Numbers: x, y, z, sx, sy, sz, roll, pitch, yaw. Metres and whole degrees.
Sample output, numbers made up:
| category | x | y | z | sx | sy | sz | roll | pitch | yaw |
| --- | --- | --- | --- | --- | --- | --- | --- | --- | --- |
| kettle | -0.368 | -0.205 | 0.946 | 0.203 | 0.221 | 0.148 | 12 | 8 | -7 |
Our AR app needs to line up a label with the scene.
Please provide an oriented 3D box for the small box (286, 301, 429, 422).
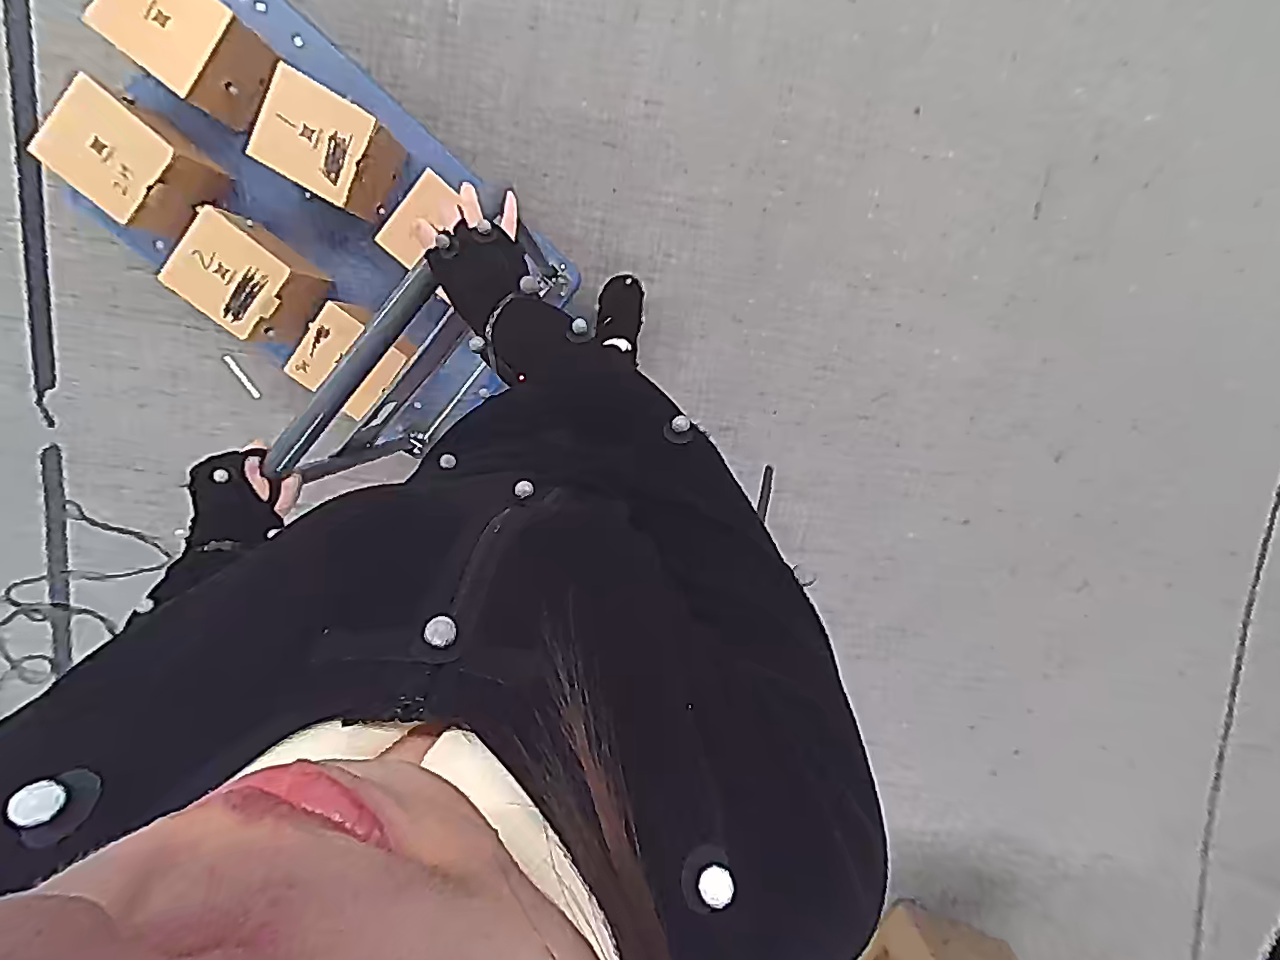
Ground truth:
| category | x | y | z | sx | sy | sz | roll | pitch | yaw |
| --- | --- | --- | --- | --- | --- | --- | --- | --- | --- |
| small box | -0.565 | -0.244 | 1.110 | 0.179 | 0.176 | 0.168 | 36 | 97 | -13 |

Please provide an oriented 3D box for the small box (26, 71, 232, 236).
| category | x | y | z | sx | sy | sz | roll | pitch | yaw |
| --- | --- | --- | --- | --- | --- | --- | --- | --- | --- |
| small box | -0.916 | -0.577 | 0.989 | 0.179 | 0.176 | 0.168 | 41 | 97 | -15 |

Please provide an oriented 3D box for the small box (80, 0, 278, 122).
| category | x | y | z | sx | sy | sz | roll | pitch | yaw |
| --- | --- | --- | --- | --- | --- | --- | --- | --- | --- |
| small box | -0.792 | -0.774 | 0.952 | 0.179 | 0.176 | 0.168 | 36 | 99 | -13 |

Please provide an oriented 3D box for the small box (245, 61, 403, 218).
| category | x | y | z | sx | sy | sz | roll | pitch | yaw |
| --- | --- | --- | --- | --- | --- | --- | --- | --- | --- |
| small box | -0.576 | -0.619 | 1.014 | 0.179 | 0.176 | 0.168 | 28 | 100 | -11 |

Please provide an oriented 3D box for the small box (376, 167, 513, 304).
| category | x | y | z | sx | sy | sz | roll | pitch | yaw |
| --- | --- | --- | --- | --- | --- | --- | --- | --- | --- |
| small box | -0.374 | -0.470 | 1.073 | 0.179 | 0.176 | 0.168 | 40 | 97 | -13 |
